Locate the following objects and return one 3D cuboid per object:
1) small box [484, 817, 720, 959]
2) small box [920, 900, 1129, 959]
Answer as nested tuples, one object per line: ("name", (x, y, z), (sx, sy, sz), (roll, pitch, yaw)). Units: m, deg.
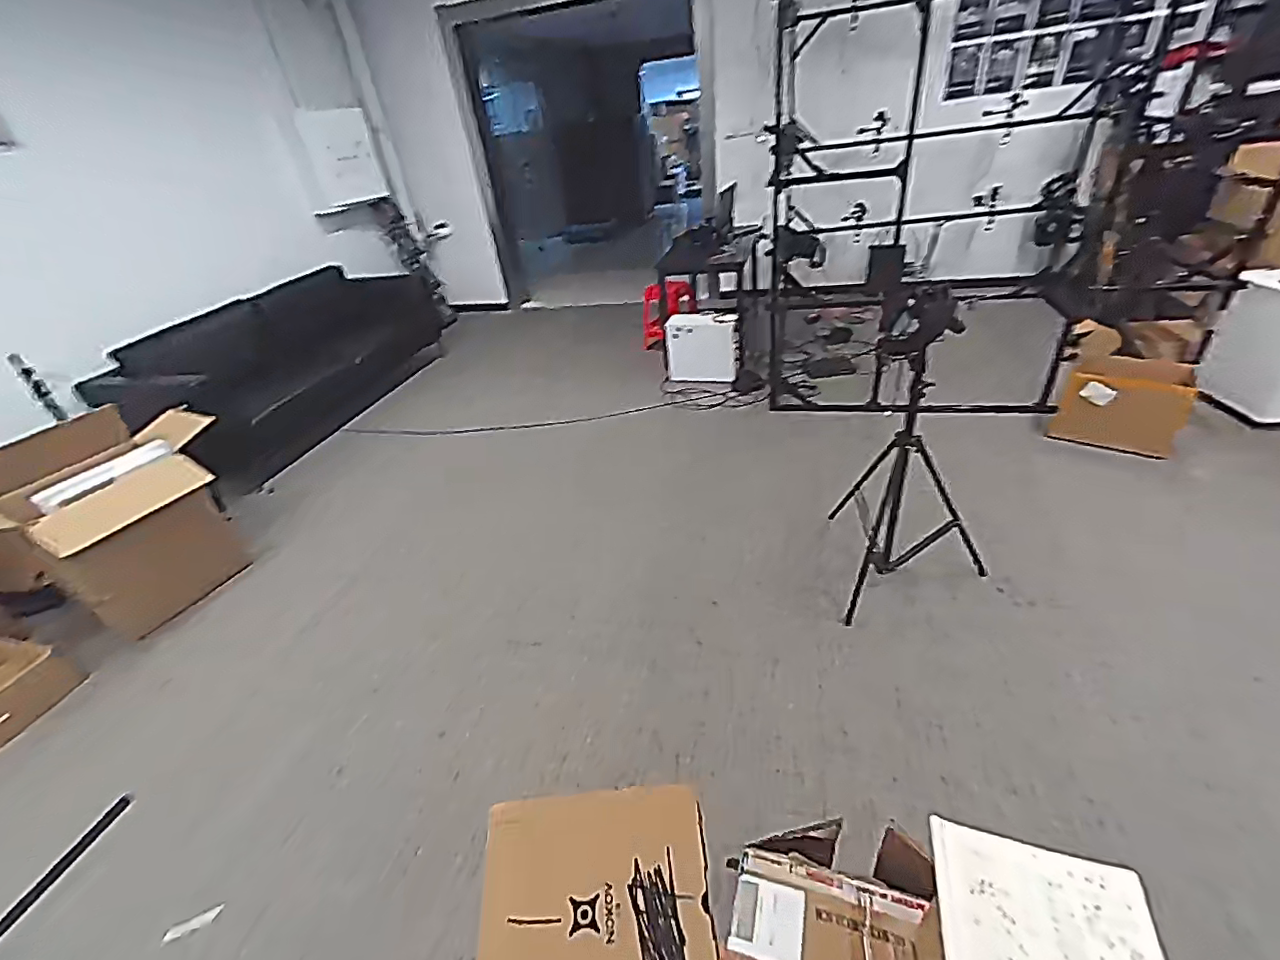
("small box", (-0.025, 0.402, 0.458), (0.179, 0.176, 0.168), (-6, 48, -1))
("small box", (0.401, 0.584, 0.553), (0.168, 0.176, 0.179), (5, 36, 15))
